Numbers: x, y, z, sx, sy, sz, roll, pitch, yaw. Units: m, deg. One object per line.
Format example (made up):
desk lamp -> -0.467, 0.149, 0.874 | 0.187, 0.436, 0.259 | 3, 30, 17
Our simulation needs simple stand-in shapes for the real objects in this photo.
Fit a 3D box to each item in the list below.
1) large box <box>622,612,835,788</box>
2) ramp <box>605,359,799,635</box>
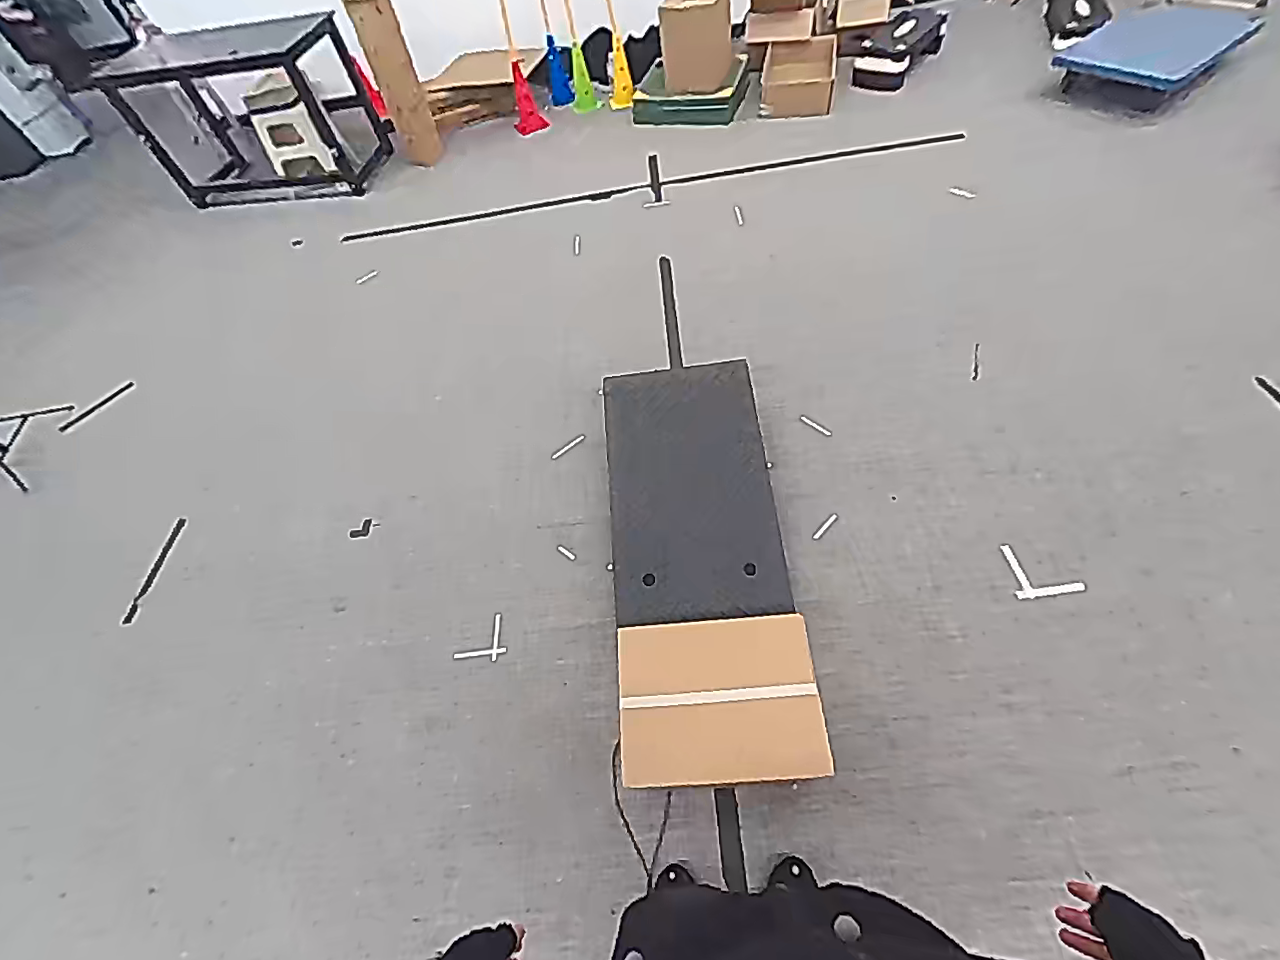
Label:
large box -> 0.186, 0.516, 1.238 | 0.408, 0.320, 0.320 | -7, 58, 5
ramp -> 0.162, 0.074, 1.629 | 0.509, 0.206, 0.991 | -8, 55, 3
